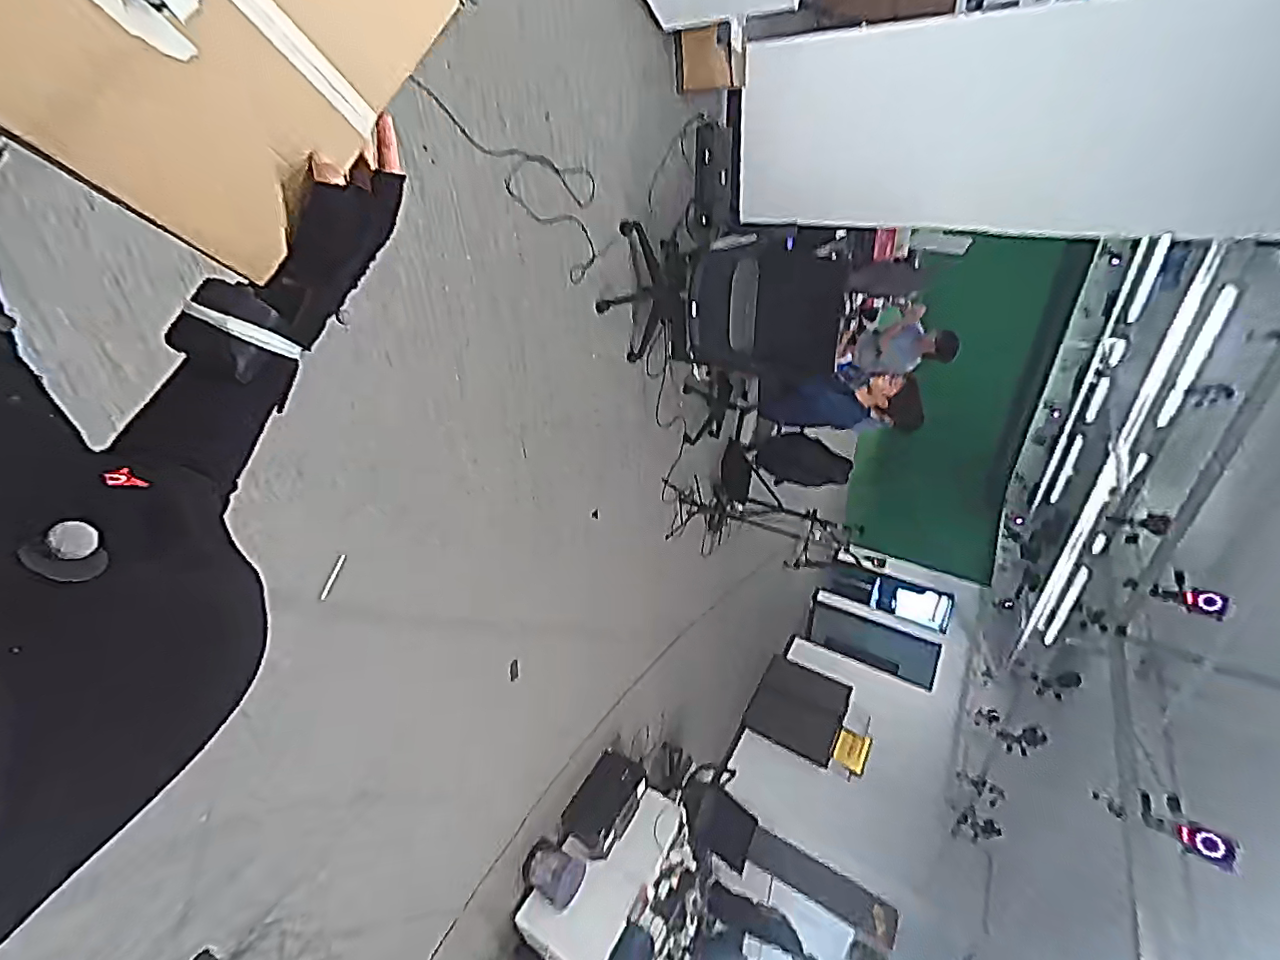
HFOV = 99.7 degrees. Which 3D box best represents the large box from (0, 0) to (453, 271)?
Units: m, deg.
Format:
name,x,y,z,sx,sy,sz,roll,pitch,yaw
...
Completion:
name,x,y,z,sx,sy,sz,roll,pitch,yaw
large box,-0.420,-0.417,0.350,0.320,0.320,0.408,-58,151,-4
